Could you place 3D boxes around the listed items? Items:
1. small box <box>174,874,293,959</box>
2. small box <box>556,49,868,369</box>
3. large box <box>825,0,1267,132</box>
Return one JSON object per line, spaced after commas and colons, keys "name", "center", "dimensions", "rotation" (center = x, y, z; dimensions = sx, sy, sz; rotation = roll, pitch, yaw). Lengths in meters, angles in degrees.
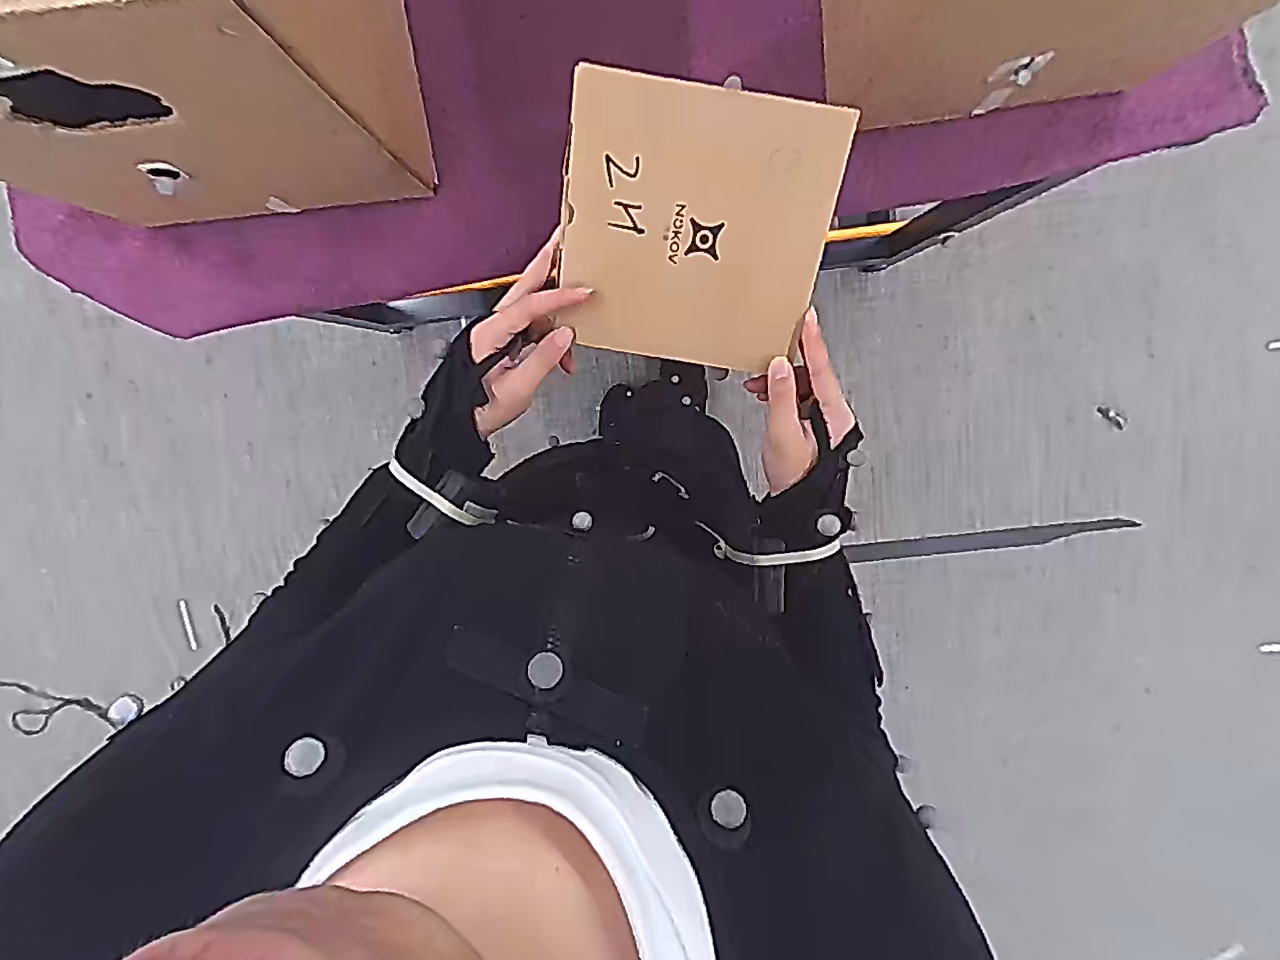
{"name": "small box", "center": [-1.116, 1.243, 1.499], "dimensions": [0.179, 0.176, 0.168], "rotation": [-14, 101, 2]}
{"name": "small box", "center": [0.042, -0.195, 0.420], "dimensions": [0.179, 0.176, 0.168], "rotation": [9, 113, 0]}
{"name": "large box", "center": [0.315, -0.539, 0.366], "dimensions": [0.320, 0.320, 0.408], "rotation": [-8, 99, 1]}
